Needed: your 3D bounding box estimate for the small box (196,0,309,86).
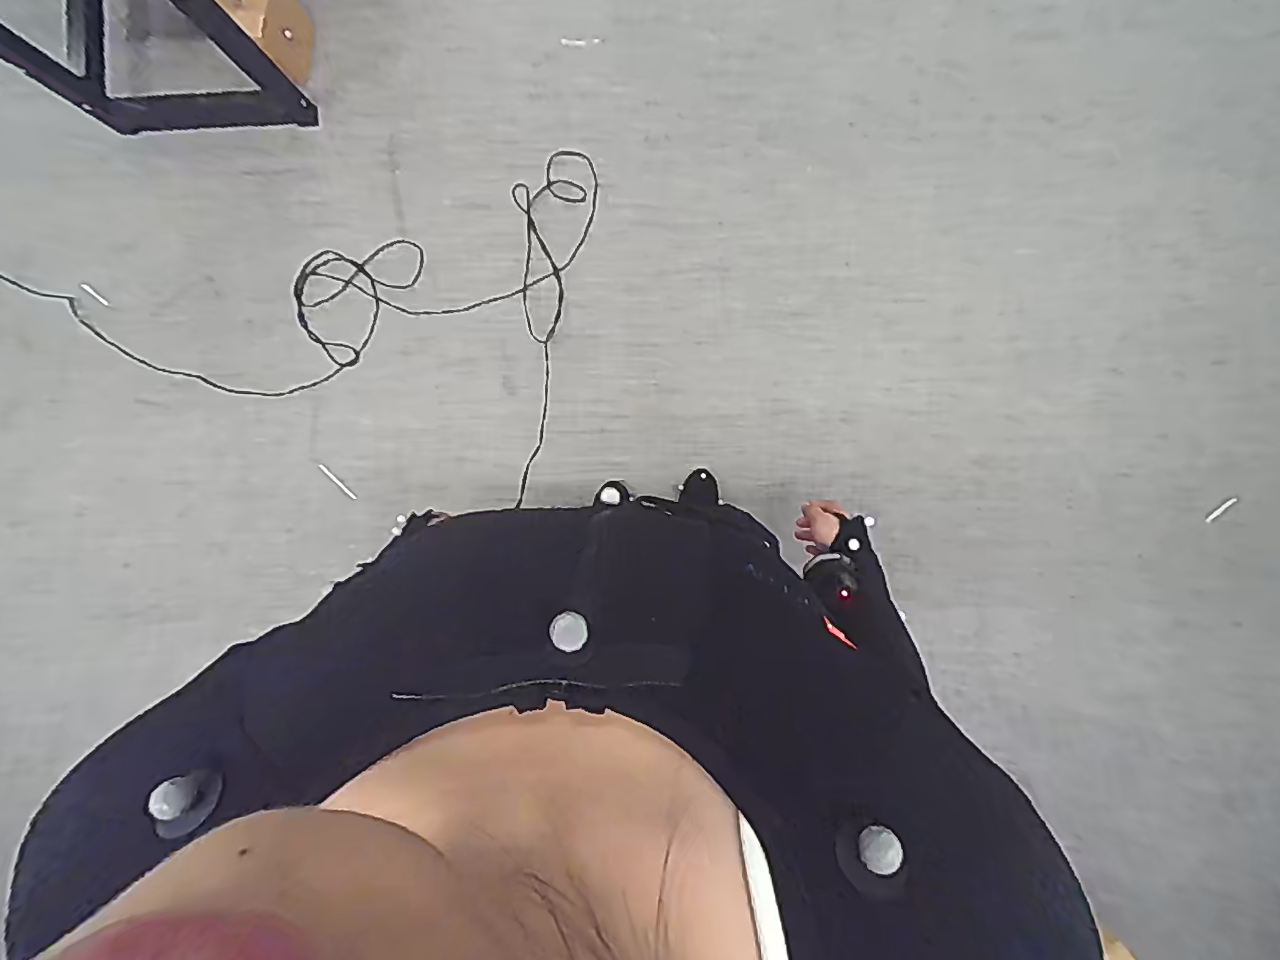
[{"bbox_3d":[-1.011,-1.190,1.425,0.168,0.176,0.179,12,92,1],"label":"small box"}]
